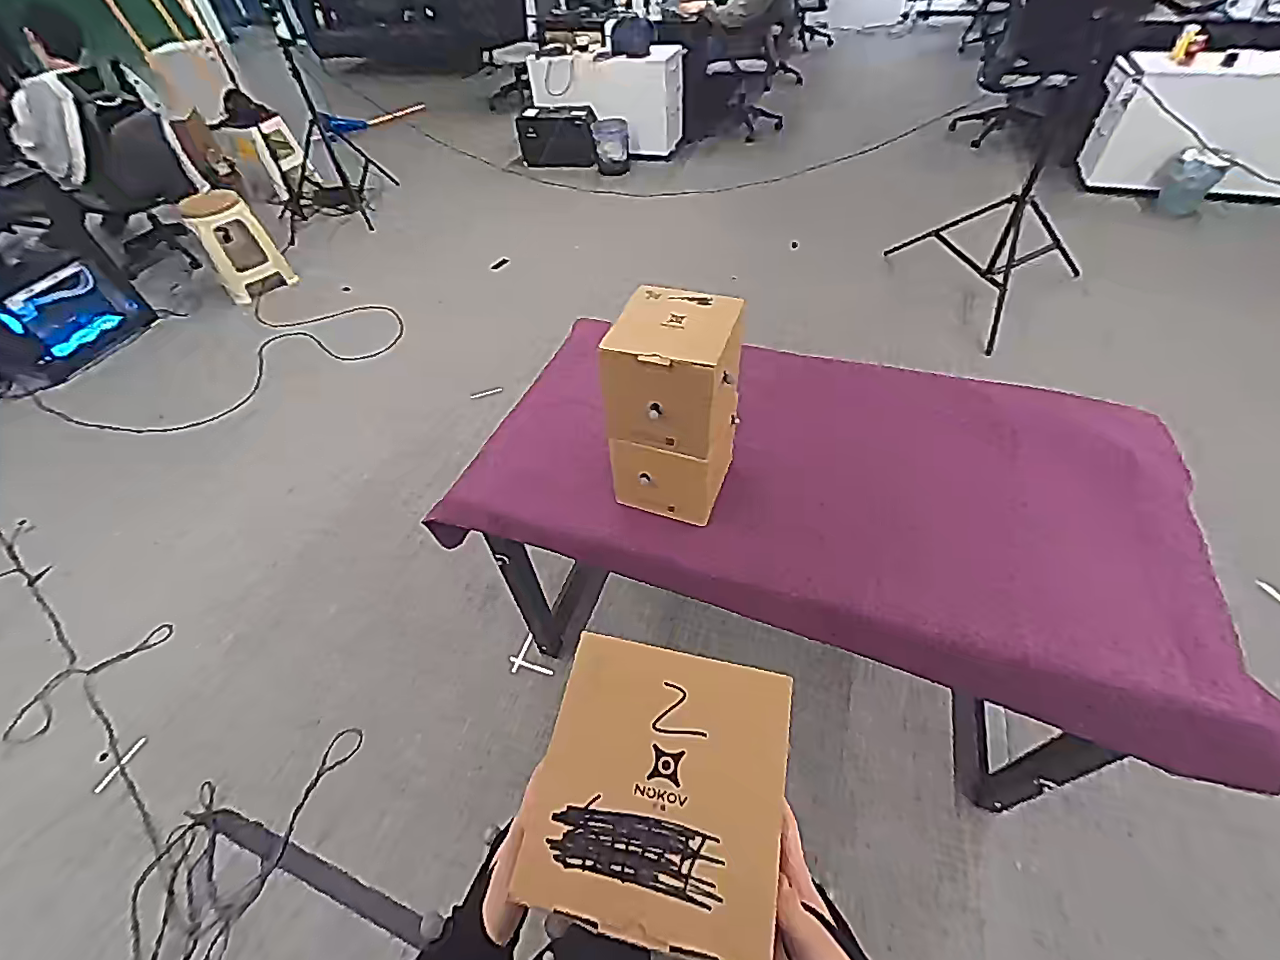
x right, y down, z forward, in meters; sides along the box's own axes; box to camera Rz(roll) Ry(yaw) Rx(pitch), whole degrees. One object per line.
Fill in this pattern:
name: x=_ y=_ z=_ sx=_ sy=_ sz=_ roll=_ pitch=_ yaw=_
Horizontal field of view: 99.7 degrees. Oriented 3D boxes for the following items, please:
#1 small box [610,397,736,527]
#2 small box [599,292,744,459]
small box: x=0.062 y=-0.044 z=0.940 sx=0.168 sy=0.176 sz=0.179 roll=15 pitch=51 yaw=16
small box: x=0.053 y=-0.156 z=0.821 sx=0.168 sy=0.176 sz=0.179 roll=14 pitch=51 yaw=15
